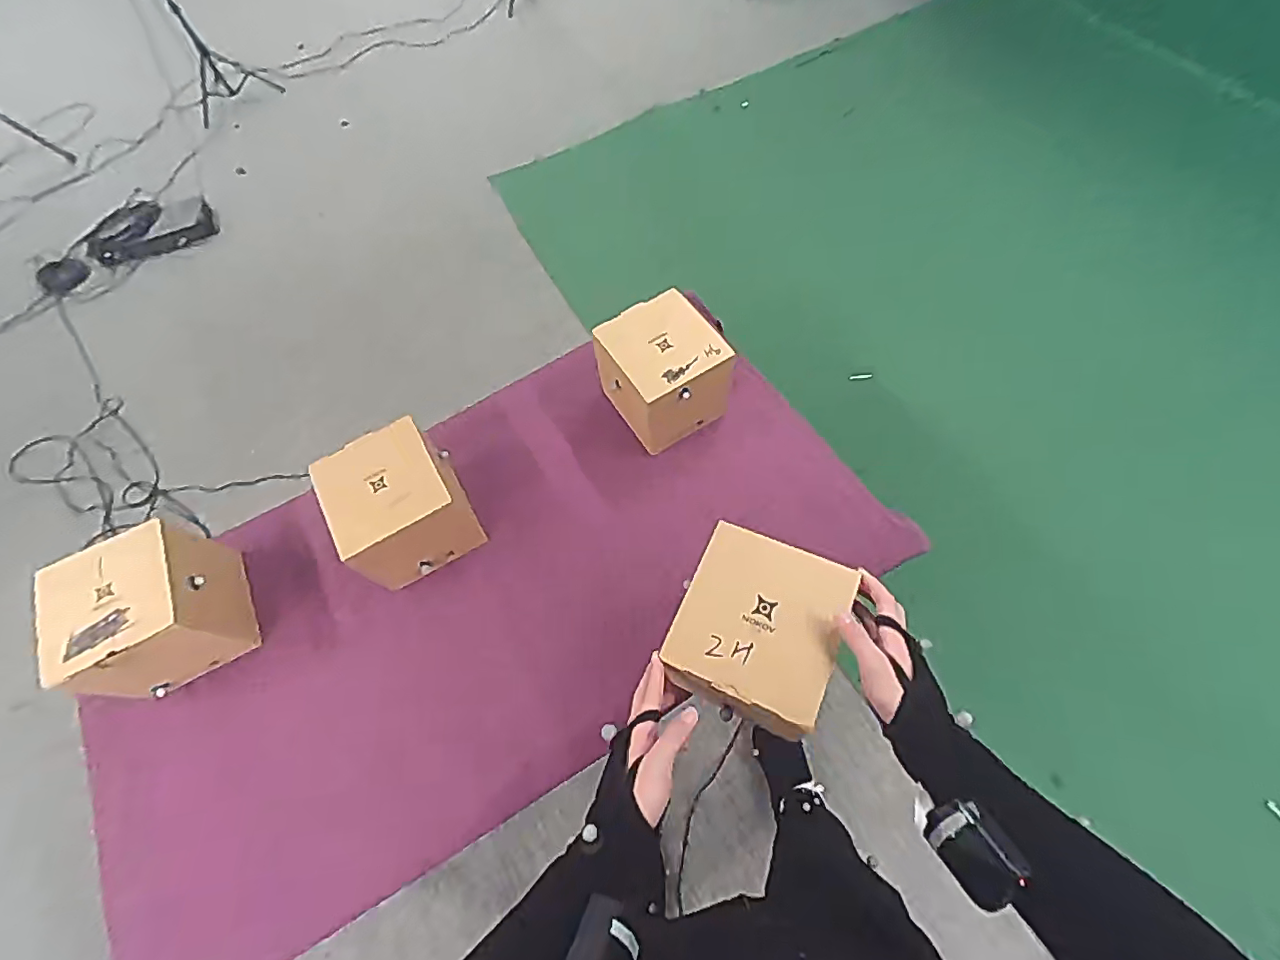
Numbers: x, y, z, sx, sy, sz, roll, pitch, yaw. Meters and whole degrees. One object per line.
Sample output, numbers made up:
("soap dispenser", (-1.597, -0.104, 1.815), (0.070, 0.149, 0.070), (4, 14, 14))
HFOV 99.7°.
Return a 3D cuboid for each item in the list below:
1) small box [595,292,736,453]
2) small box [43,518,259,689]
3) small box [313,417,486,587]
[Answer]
("small box", (0.043, -0.179, 0.929), (0.168, 0.176, 0.179), (-31, 65, -10))
("small box", (-0.700, 0.189, 0.791), (0.168, 0.176, 0.179), (-27, 66, -10))
("small box", (-0.368, 0.041, 0.849), (0.168, 0.176, 0.179), (-29, 66, -10))
